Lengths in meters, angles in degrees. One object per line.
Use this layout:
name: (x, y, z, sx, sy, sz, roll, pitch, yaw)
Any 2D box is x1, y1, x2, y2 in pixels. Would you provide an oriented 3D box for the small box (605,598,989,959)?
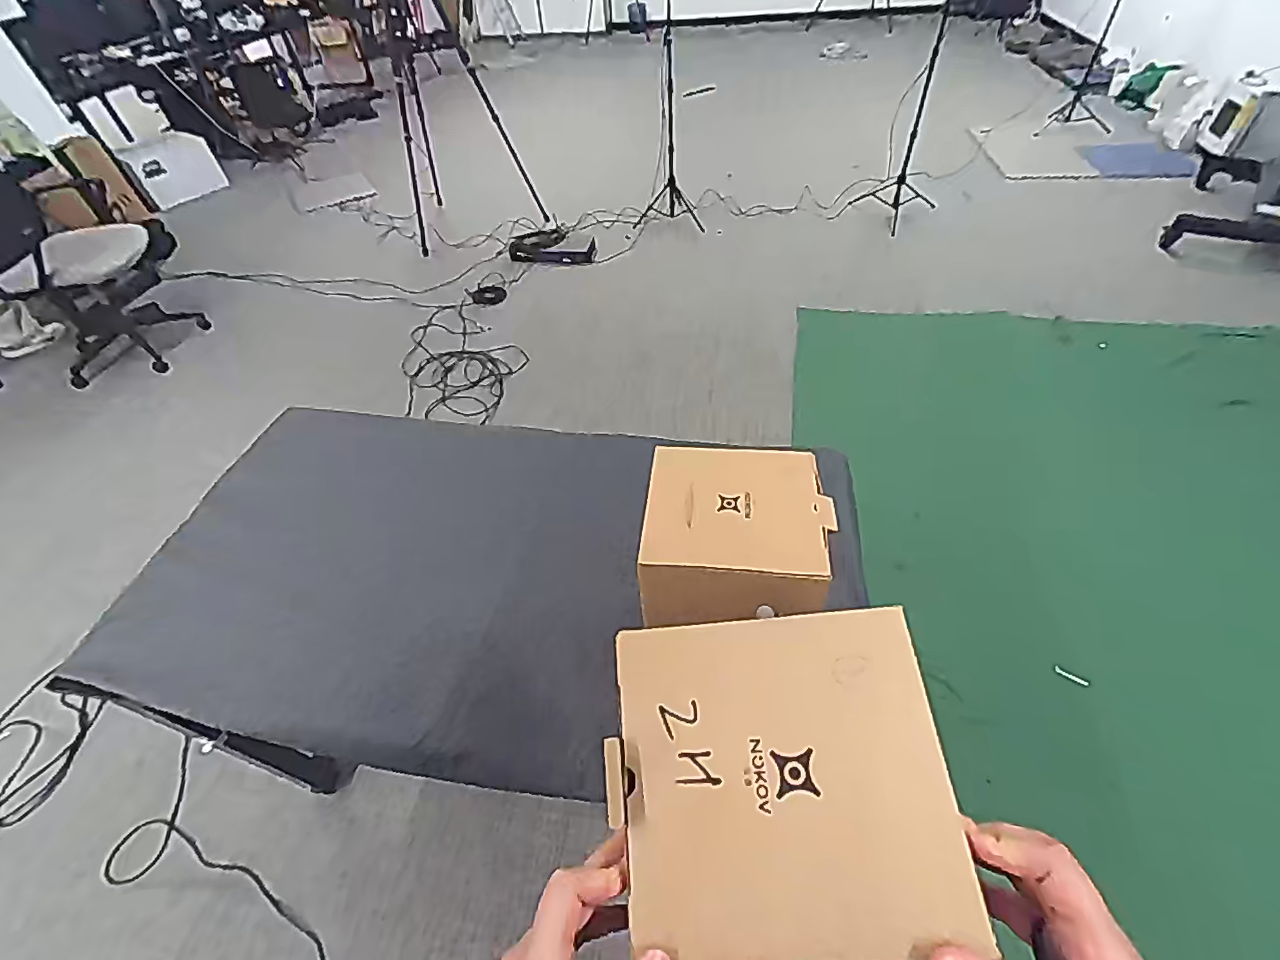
small box: (0.081, 0.183, 0.357, 0.179, 0.176, 0.168, -8, 63, 7)

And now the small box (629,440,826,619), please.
small box: (0.092, 0.075, 0.589, 0.179, 0.176, 0.168, 1, 45, 9)
